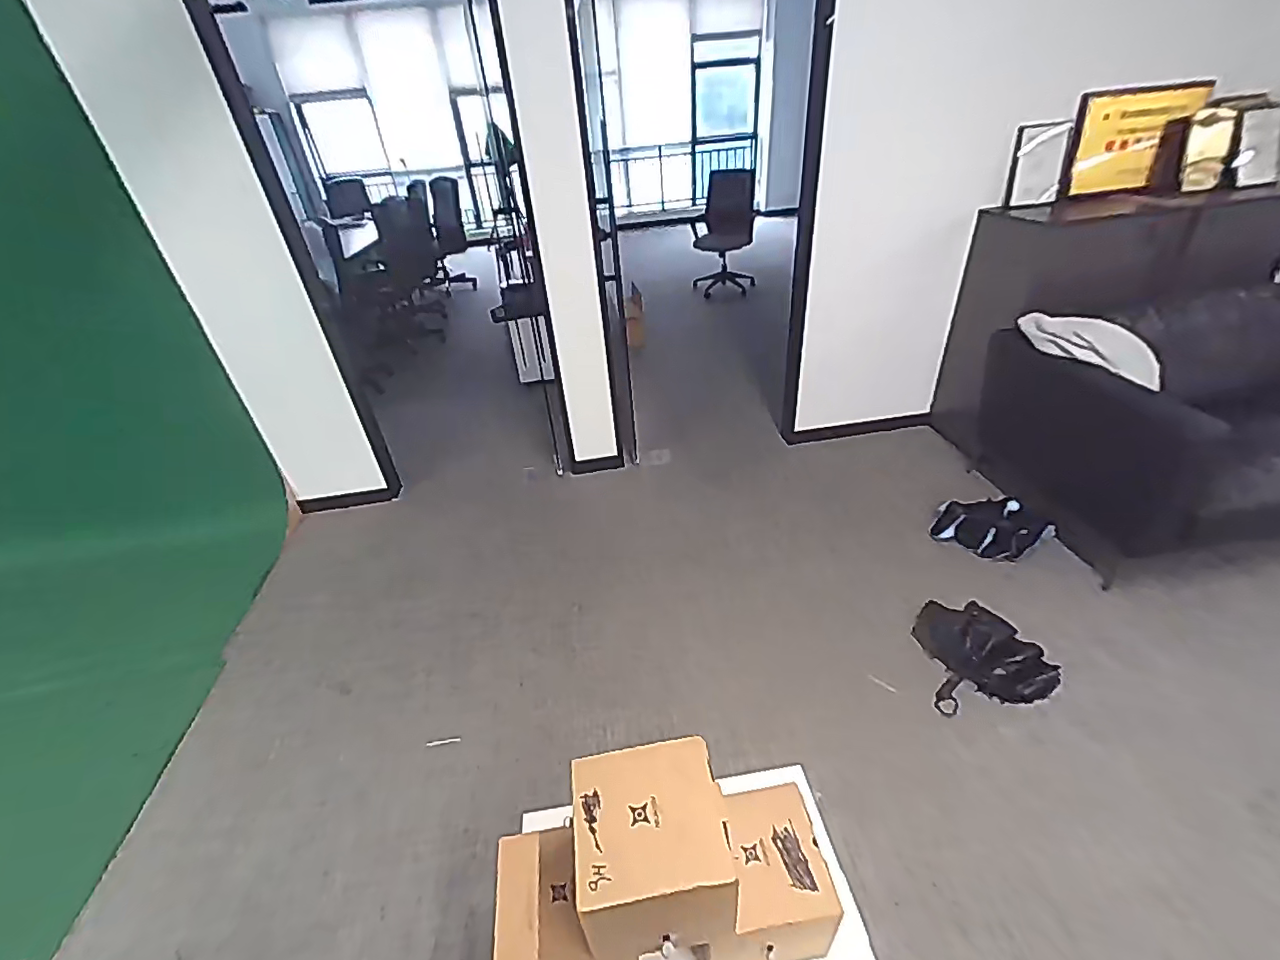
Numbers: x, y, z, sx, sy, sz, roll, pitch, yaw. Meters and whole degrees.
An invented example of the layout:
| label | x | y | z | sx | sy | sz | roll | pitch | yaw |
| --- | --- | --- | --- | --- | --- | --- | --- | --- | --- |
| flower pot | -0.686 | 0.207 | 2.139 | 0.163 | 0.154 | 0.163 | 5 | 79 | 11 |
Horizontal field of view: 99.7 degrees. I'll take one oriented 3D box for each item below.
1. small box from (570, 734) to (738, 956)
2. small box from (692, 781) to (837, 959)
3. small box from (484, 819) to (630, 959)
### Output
| label | x | y | z | sx | sy | sz | roll | pitch | yaw |
| --- | --- | --- | --- | --- | --- | --- | --- | --- | --- |
| small box | 0.010 | 0.447 | 0.667 | 0.179 | 0.176 | 0.168 | -6 | 34 | -6 |
| small box | 0.154 | 0.565 | 0.772 | 0.179 | 0.176 | 0.168 | -7 | 34 | -5 |
| small box | -0.109 | 0.597 | 0.745 | 0.179 | 0.176 | 0.168 | -8 | 33 | -7 |
